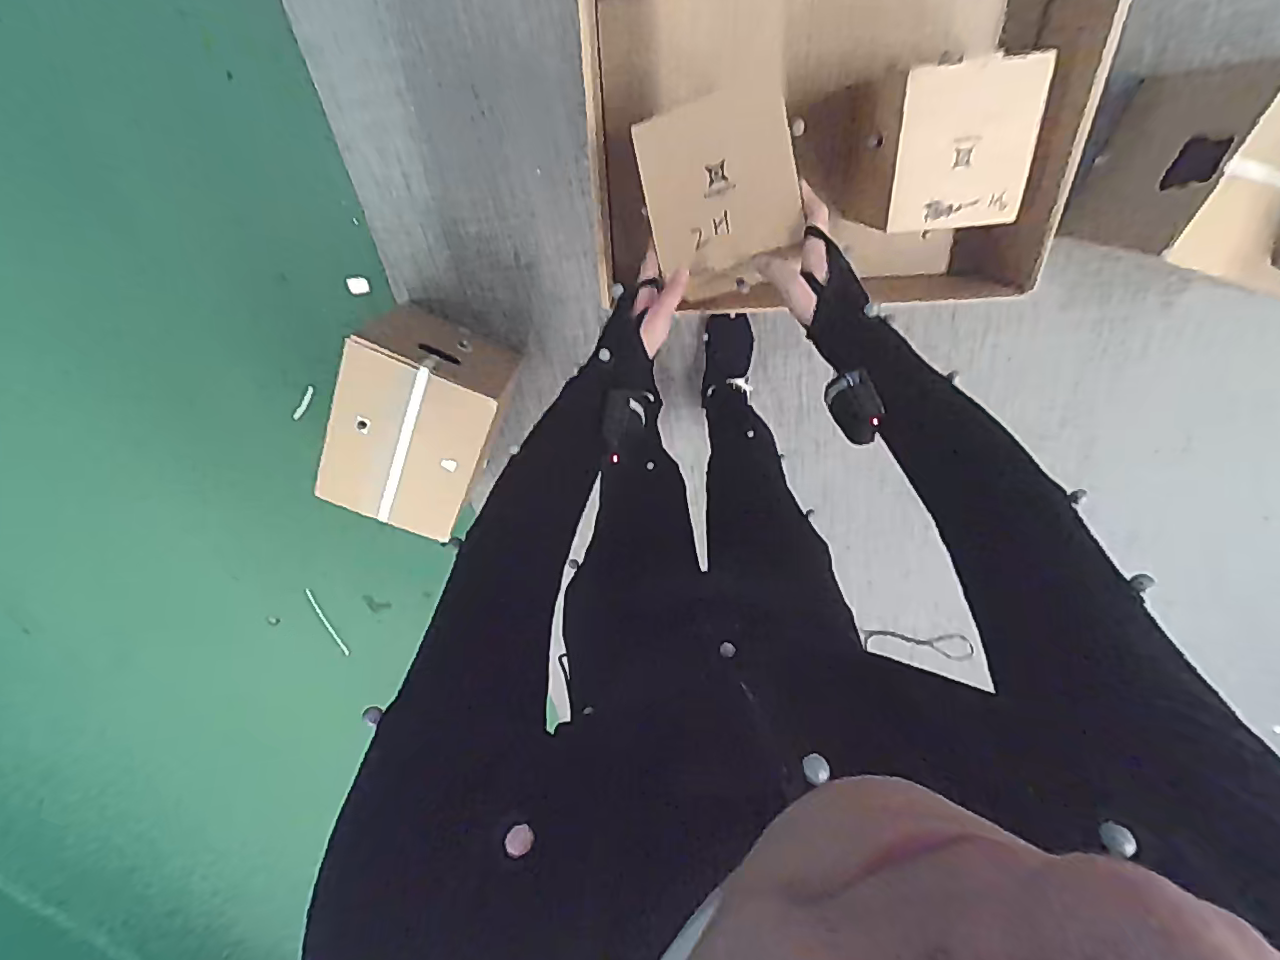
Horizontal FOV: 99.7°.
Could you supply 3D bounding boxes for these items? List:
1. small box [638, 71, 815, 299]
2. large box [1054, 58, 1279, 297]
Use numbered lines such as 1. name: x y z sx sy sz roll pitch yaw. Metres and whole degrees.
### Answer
1. small box: 0.112 -0.337 0.660 0.168 0.176 0.179 -11 98 18
2. large box: 1.165 -0.568 1.054 0.408 0.320 0.320 12 120 -6
